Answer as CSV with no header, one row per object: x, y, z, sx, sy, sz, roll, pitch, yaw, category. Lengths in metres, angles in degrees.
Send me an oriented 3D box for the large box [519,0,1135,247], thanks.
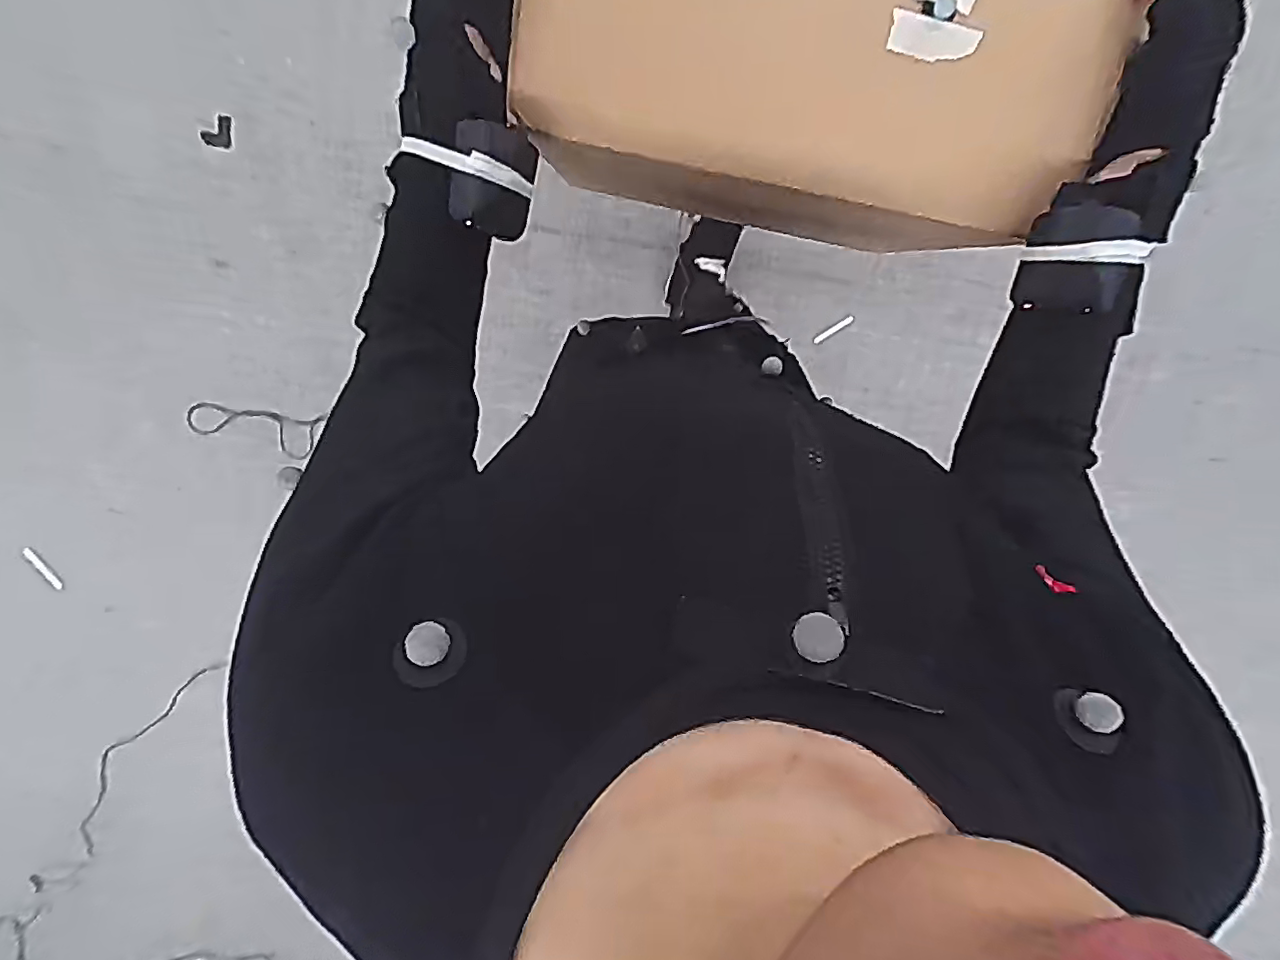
0.131,-0.410,0.479,0.408,0.320,0.320,10,112,-5,large box
